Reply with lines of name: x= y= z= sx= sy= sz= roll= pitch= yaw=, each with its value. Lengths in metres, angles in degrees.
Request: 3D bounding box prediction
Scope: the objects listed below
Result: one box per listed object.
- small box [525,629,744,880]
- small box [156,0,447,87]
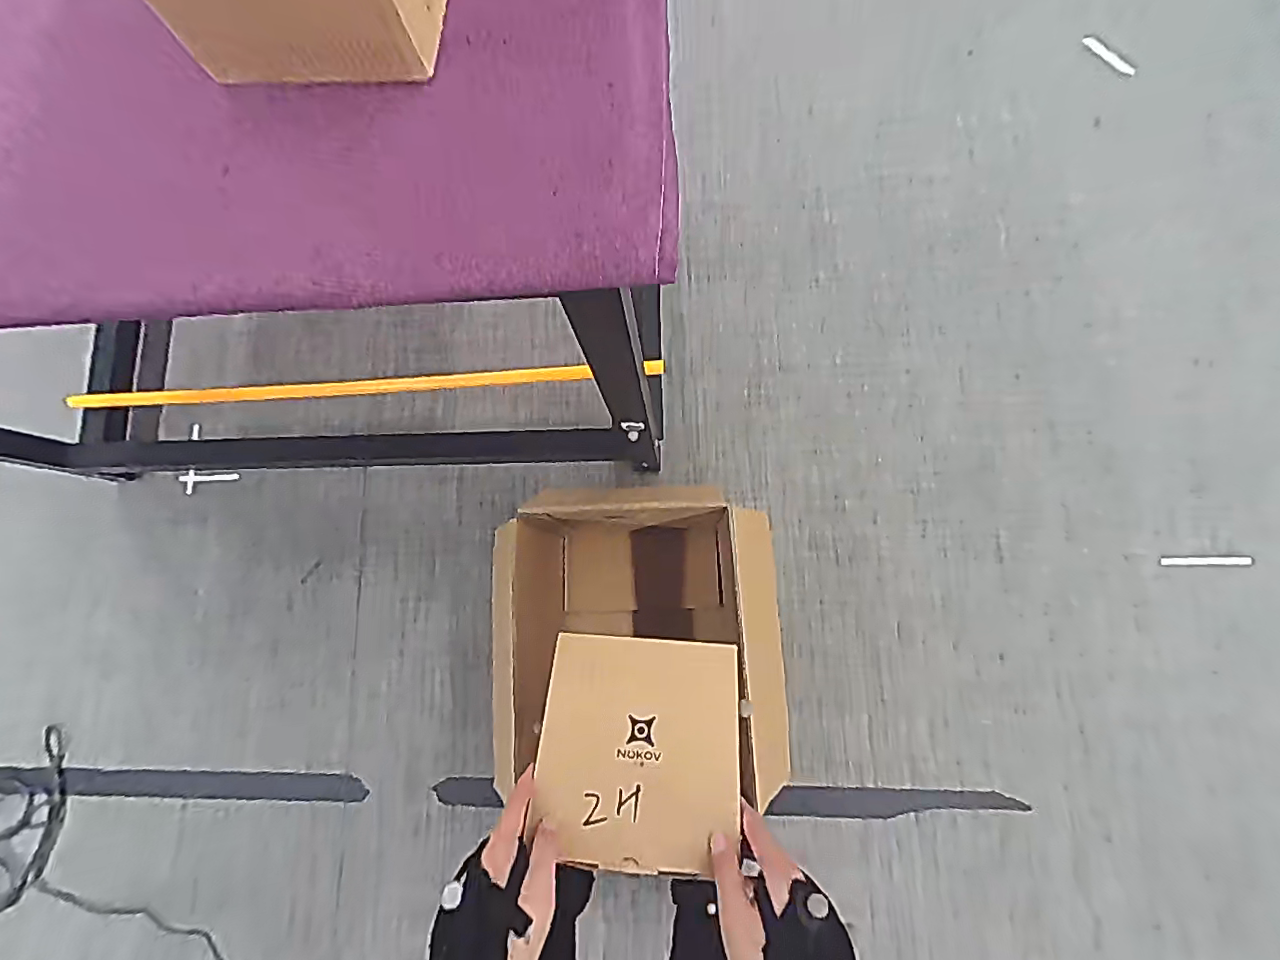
small box: x=0.004 y=0.259 z=0.508 sx=0.168 sy=0.176 sz=0.179 roll=2 pitch=55 yaw=5
small box: x=-0.233 y=-0.394 z=0.352 sx=0.179 sy=0.176 sz=0.168 roll=3 pitch=78 yaw=6
